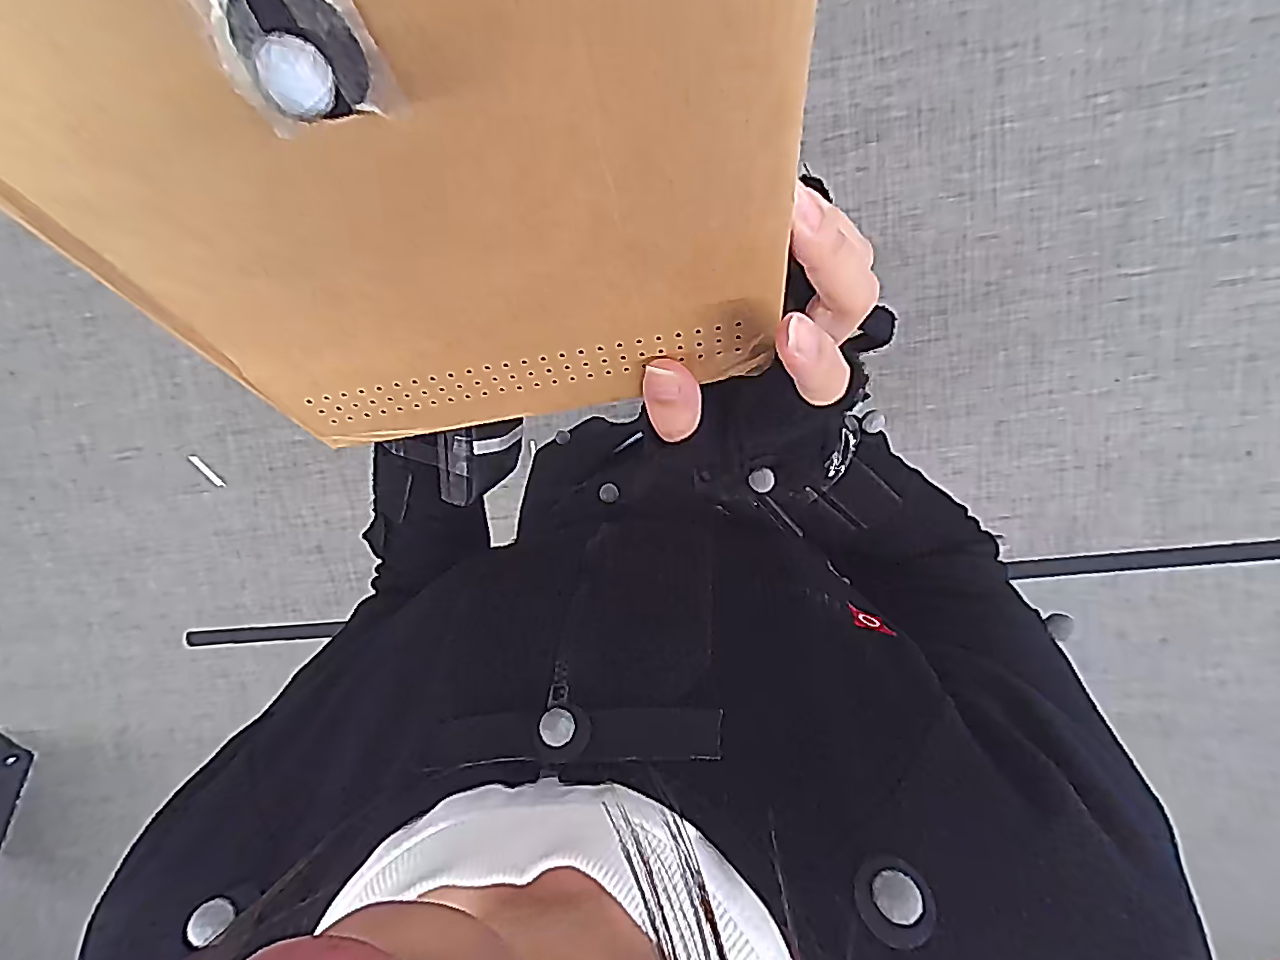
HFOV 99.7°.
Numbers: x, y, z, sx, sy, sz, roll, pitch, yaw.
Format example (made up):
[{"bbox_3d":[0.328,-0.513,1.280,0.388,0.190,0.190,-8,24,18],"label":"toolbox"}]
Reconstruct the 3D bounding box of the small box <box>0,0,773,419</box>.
[{"bbox_3d":[-0.054,-0.137,0.188,0.179,0.176,0.168,-8,64,6],"label":"small box"}]
